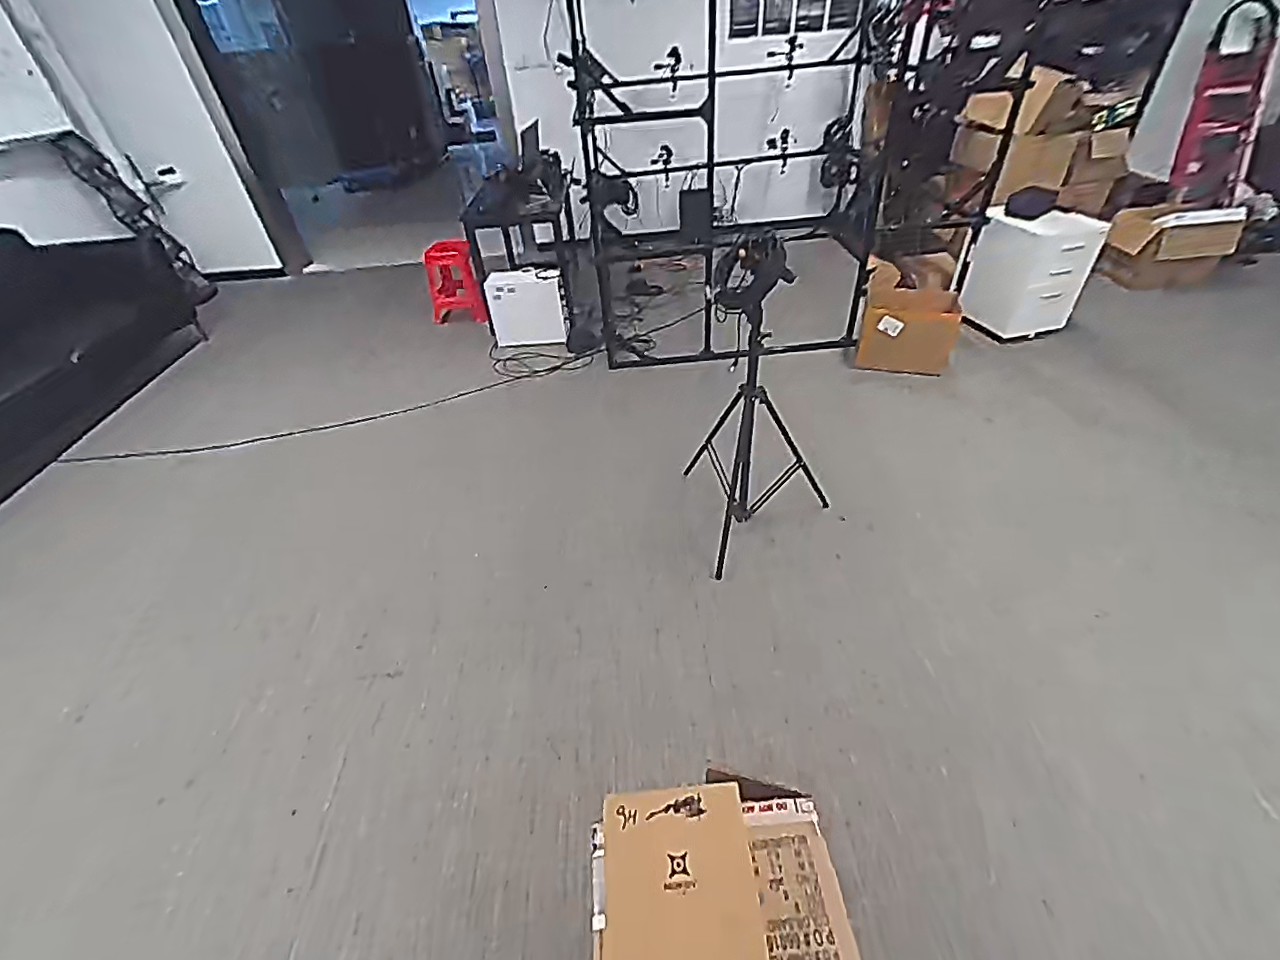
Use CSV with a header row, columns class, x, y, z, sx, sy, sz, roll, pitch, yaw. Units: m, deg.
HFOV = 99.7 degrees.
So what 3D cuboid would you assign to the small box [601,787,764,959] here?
class,x,y,z,sx,sy,sz,roll,pitch,yaw
small box,0.046,0.492,0.639,0.168,0.176,0.179,-6,43,0
